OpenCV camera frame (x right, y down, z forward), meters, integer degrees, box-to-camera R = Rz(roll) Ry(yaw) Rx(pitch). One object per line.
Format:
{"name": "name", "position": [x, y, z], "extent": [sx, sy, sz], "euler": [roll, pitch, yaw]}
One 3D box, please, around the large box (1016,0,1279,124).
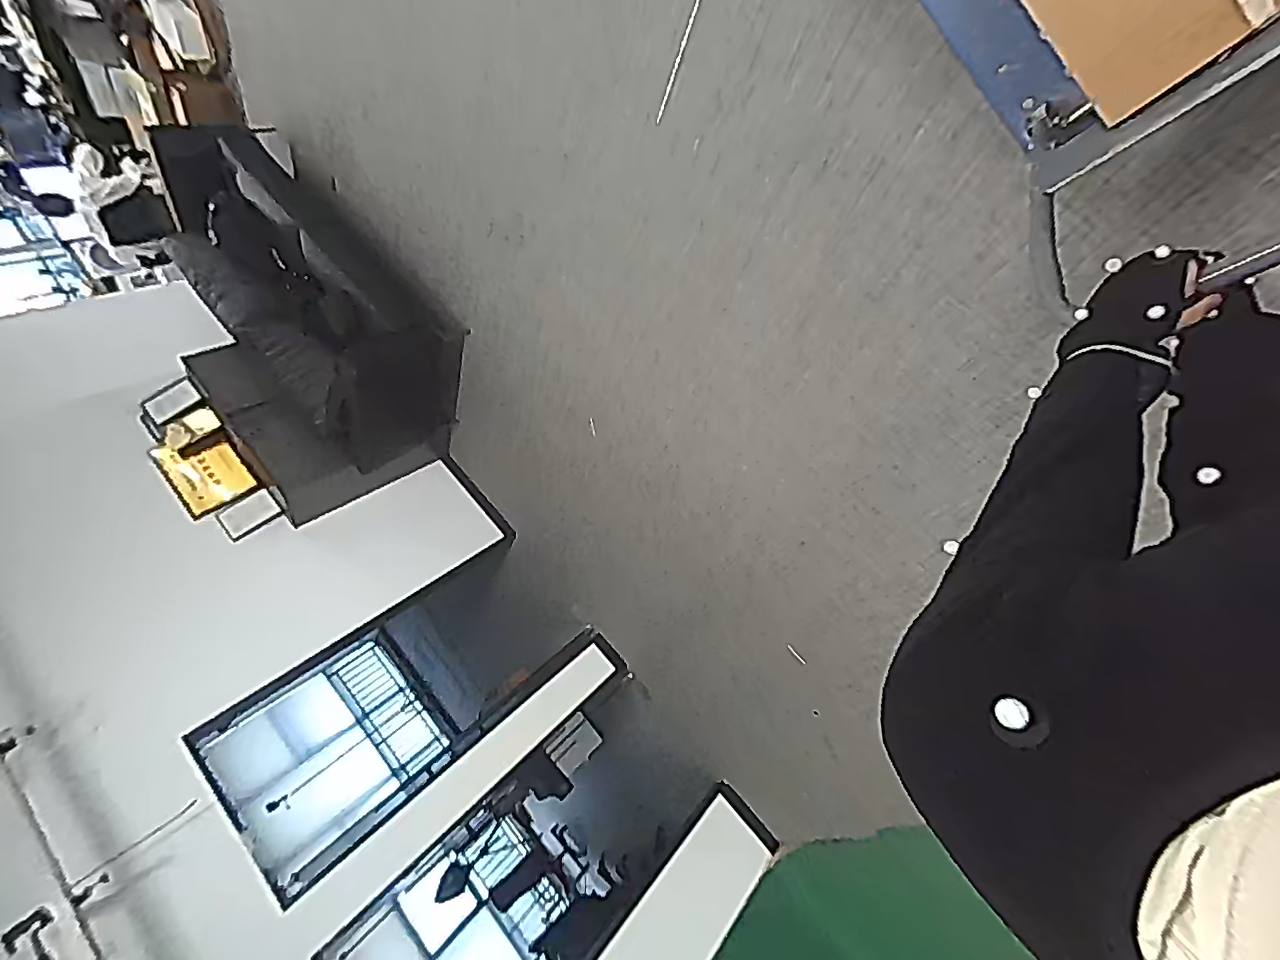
{"name": "large box", "position": [0.698, -0.795, 0.720], "extent": [0.408, 0.320, 0.320], "euler": [43, 144, -11]}
